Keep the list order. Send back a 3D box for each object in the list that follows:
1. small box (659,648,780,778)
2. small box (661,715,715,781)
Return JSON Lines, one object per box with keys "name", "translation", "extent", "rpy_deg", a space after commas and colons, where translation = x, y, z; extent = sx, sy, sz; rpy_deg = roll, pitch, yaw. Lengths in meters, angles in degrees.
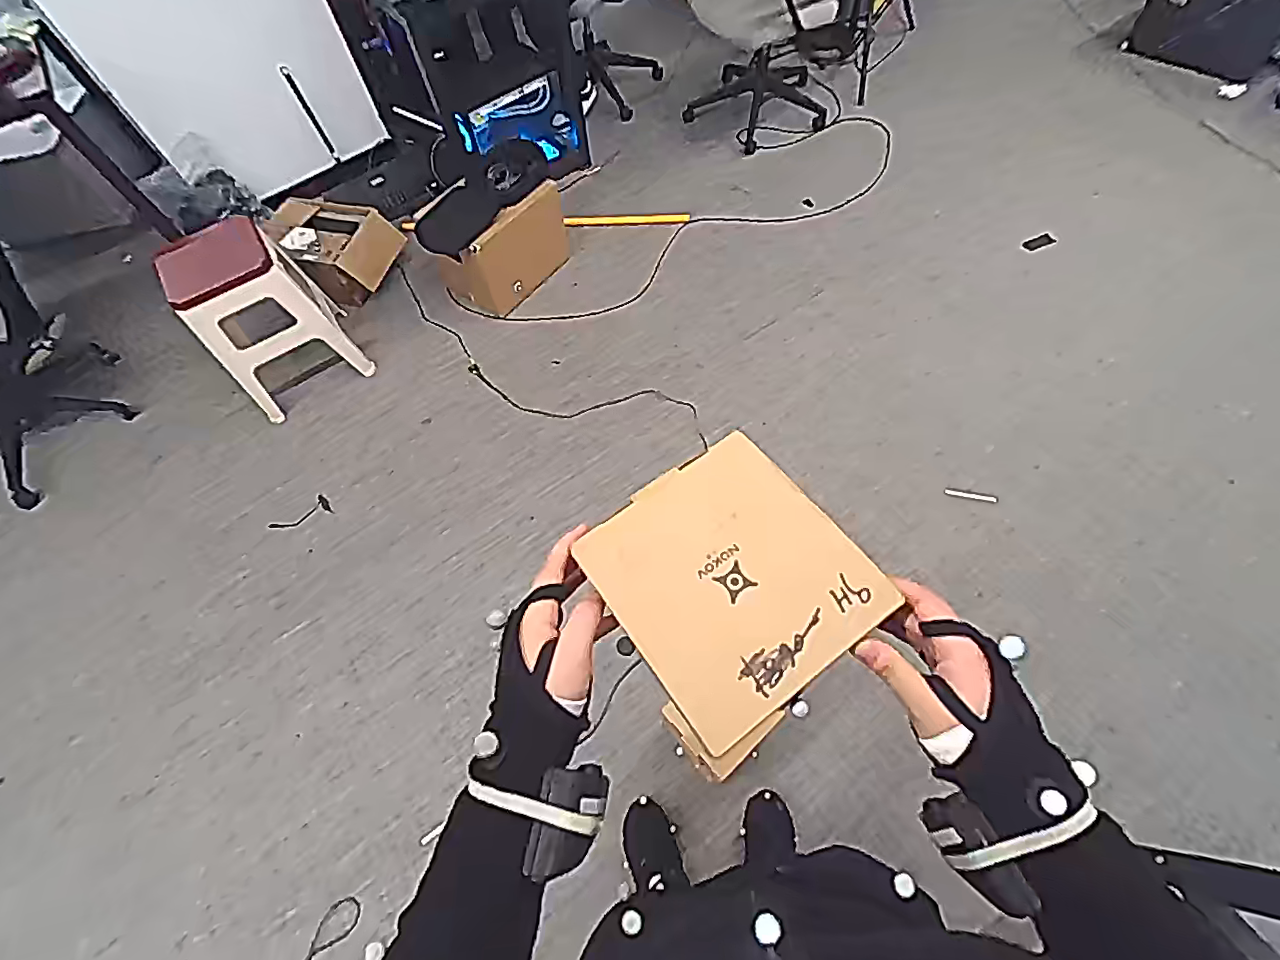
{"name": "small box", "translation": [0.157, 0.479, 1.106], "extent": [0.179, 0.176, 0.168], "rpy_deg": [-40, 67, -17]}
{"name": "small box", "translation": [0.165, 0.560, 1.246], "extent": [0.179, 0.176, 0.168], "rpy_deg": [-37, 66, -14]}
